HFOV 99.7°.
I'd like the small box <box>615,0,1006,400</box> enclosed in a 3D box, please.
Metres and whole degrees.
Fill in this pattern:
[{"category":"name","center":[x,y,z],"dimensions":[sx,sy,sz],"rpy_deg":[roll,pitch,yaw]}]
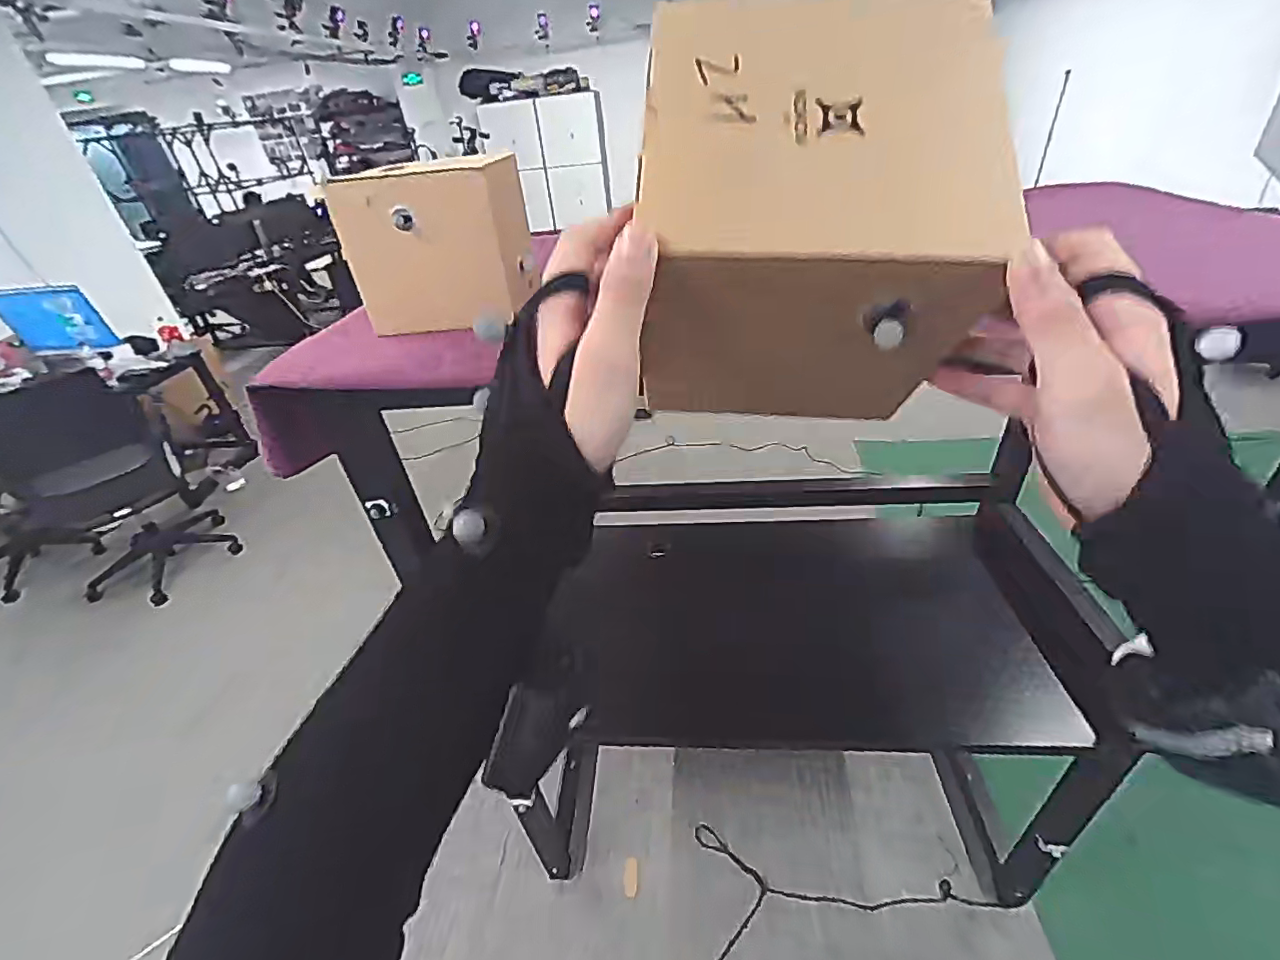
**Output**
[{"category":"small box","center":[0.087,-0.161,0.342],"dimensions":[0.179,0.176,0.168],"rpy_deg":[3,72,6]}]

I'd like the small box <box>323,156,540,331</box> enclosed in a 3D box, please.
[{"category":"small box","center":[-0.237,-0.291,0.667],"dimensions":[0.179,0.176,0.168],"rpy_deg":[-3,35,4]}]
